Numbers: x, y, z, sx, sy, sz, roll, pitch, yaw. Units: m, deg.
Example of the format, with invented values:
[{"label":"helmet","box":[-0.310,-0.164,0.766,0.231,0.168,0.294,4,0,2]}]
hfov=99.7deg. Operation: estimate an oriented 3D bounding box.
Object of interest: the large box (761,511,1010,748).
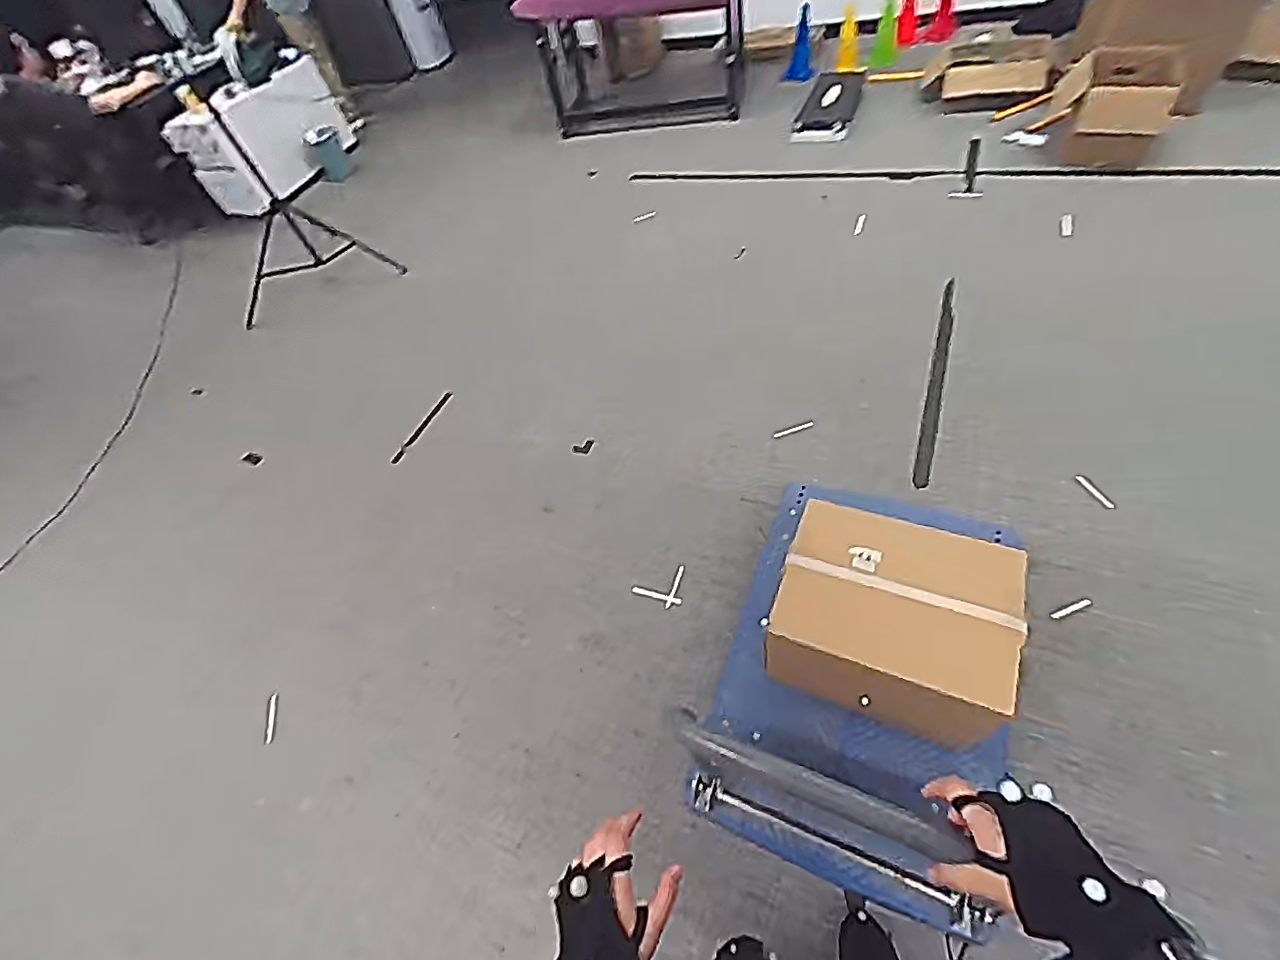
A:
[{"label":"large box","box":[0.499,0.313,1.143,0.408,0.320,0.320,14,58,23]}]
